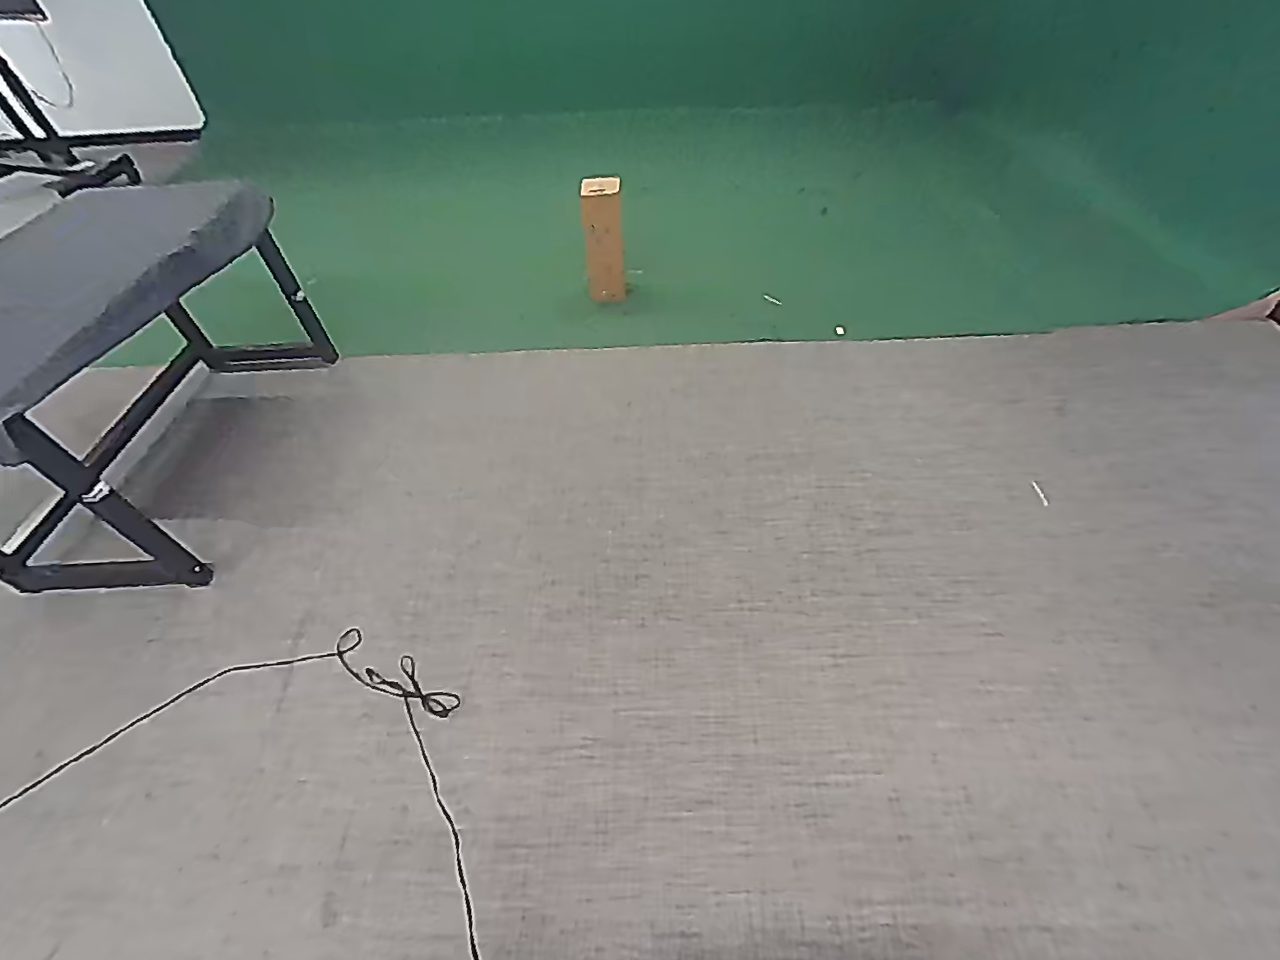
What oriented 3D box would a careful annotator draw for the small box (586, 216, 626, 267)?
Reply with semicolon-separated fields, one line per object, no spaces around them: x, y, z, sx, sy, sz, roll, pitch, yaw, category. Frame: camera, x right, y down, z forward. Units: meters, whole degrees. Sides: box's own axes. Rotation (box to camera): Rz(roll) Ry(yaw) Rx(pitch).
-0.155;-1.107;2.505;0.168;0.176;0.179;-1;48;3;small box

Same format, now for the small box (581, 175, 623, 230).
-0.161;-1.216;2.381;0.168;0.176;0.179;-2;48;2;small box

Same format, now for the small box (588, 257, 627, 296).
-0.152;-1.011;2.614;0.168;0.176;0.179;-1;50;4;small box
